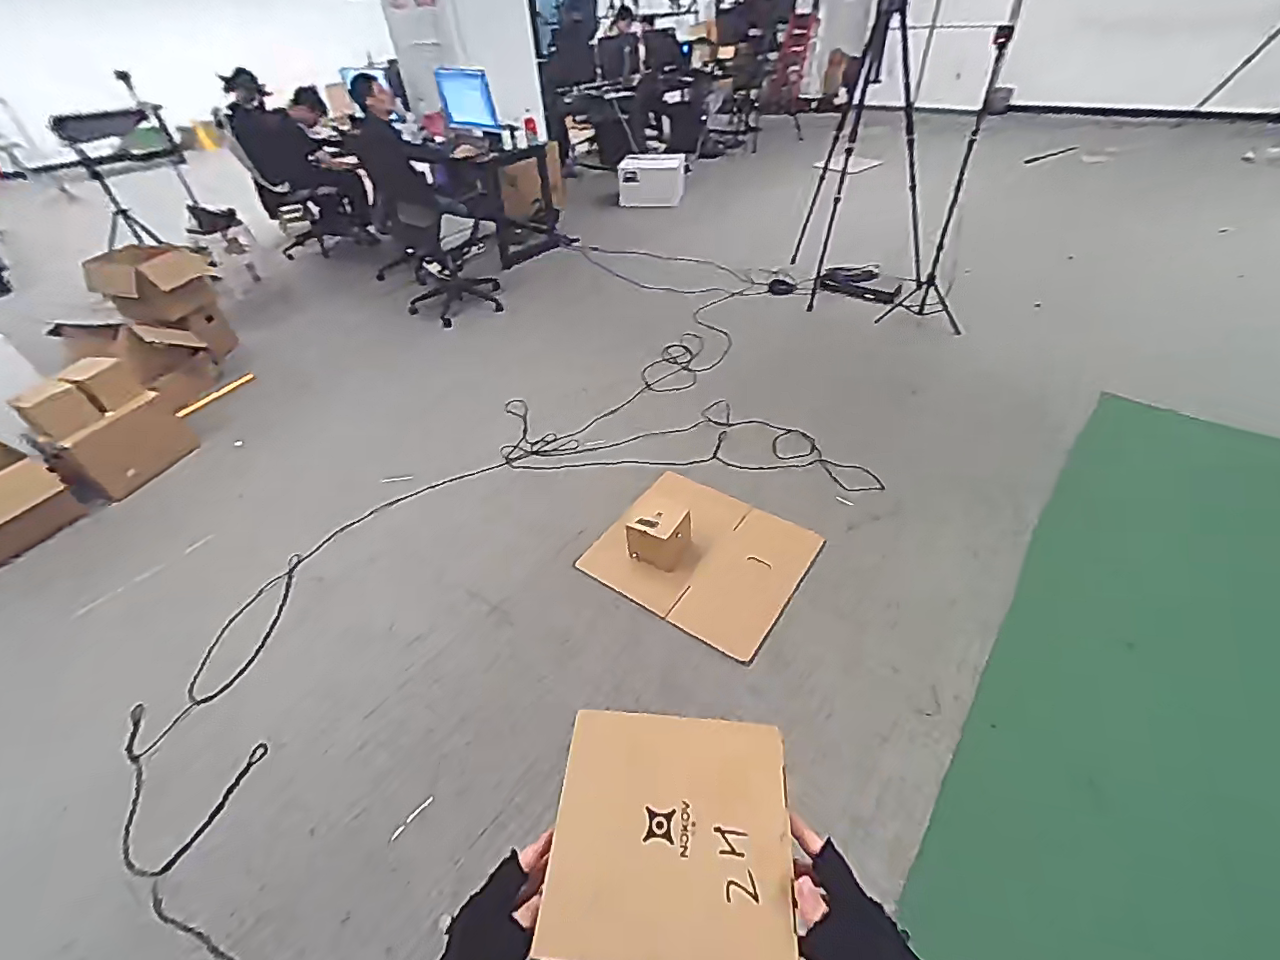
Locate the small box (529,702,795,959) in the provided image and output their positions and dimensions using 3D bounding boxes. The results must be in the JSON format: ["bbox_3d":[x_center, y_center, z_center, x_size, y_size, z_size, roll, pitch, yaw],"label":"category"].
[{"bbox_3d":[0.026,0.309,0.455,0.179,0.176,0.168,2,45,7],"label":"small box"}]

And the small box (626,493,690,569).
[{"bbox_3d":[0.071,0.182,1.906,0.168,0.176,0.179,20,47,26],"label":"small box"}]
